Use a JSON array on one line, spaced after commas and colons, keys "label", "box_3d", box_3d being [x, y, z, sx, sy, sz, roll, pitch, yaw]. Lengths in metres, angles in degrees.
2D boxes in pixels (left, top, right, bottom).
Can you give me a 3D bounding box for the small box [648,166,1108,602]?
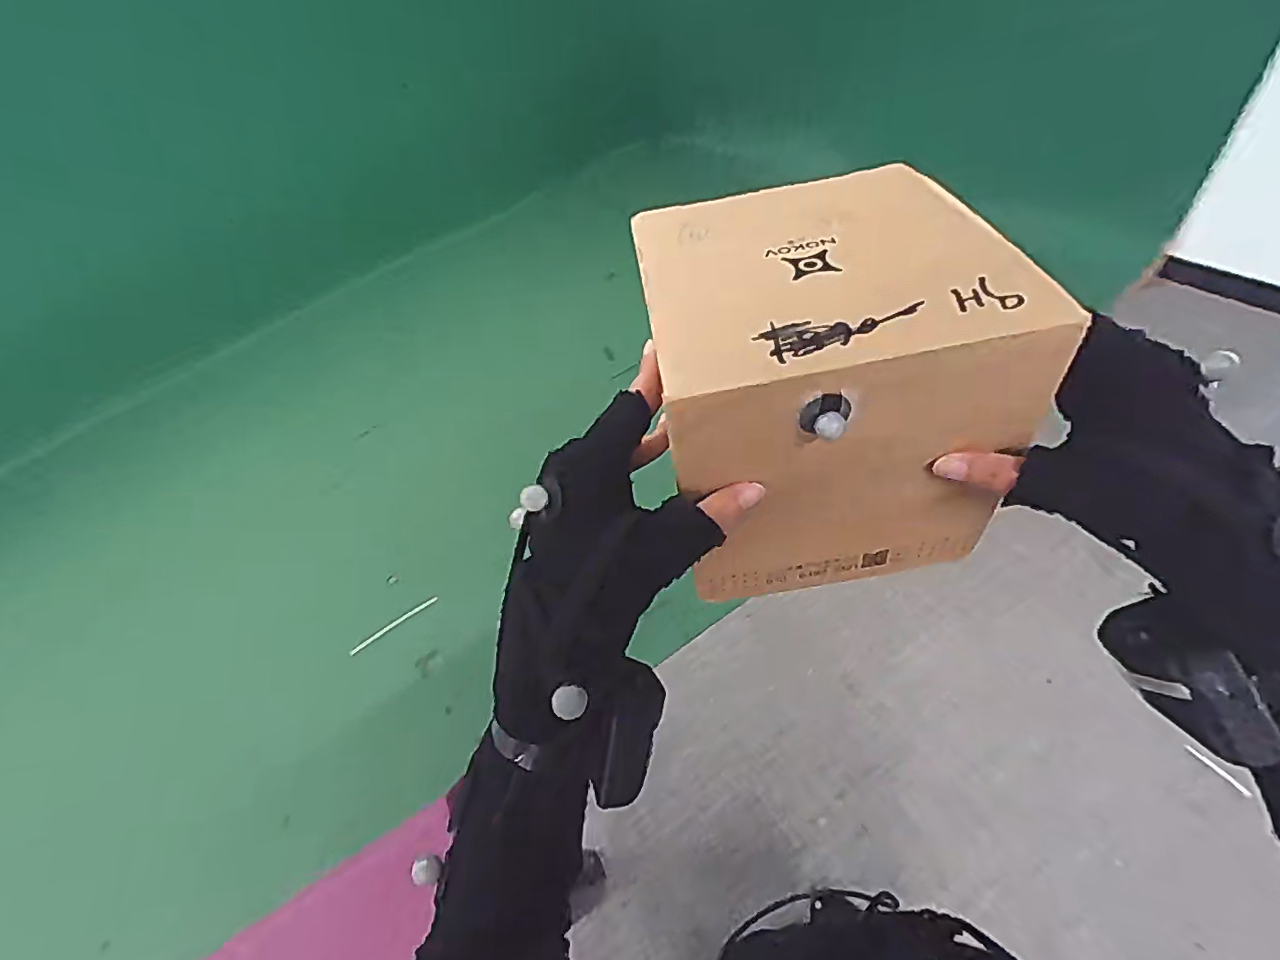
[{"label": "small box", "box_3d": [0.101, -0.053, 0.319, 0.168, 0.176, 0.179, -10, 47, 5]}]
